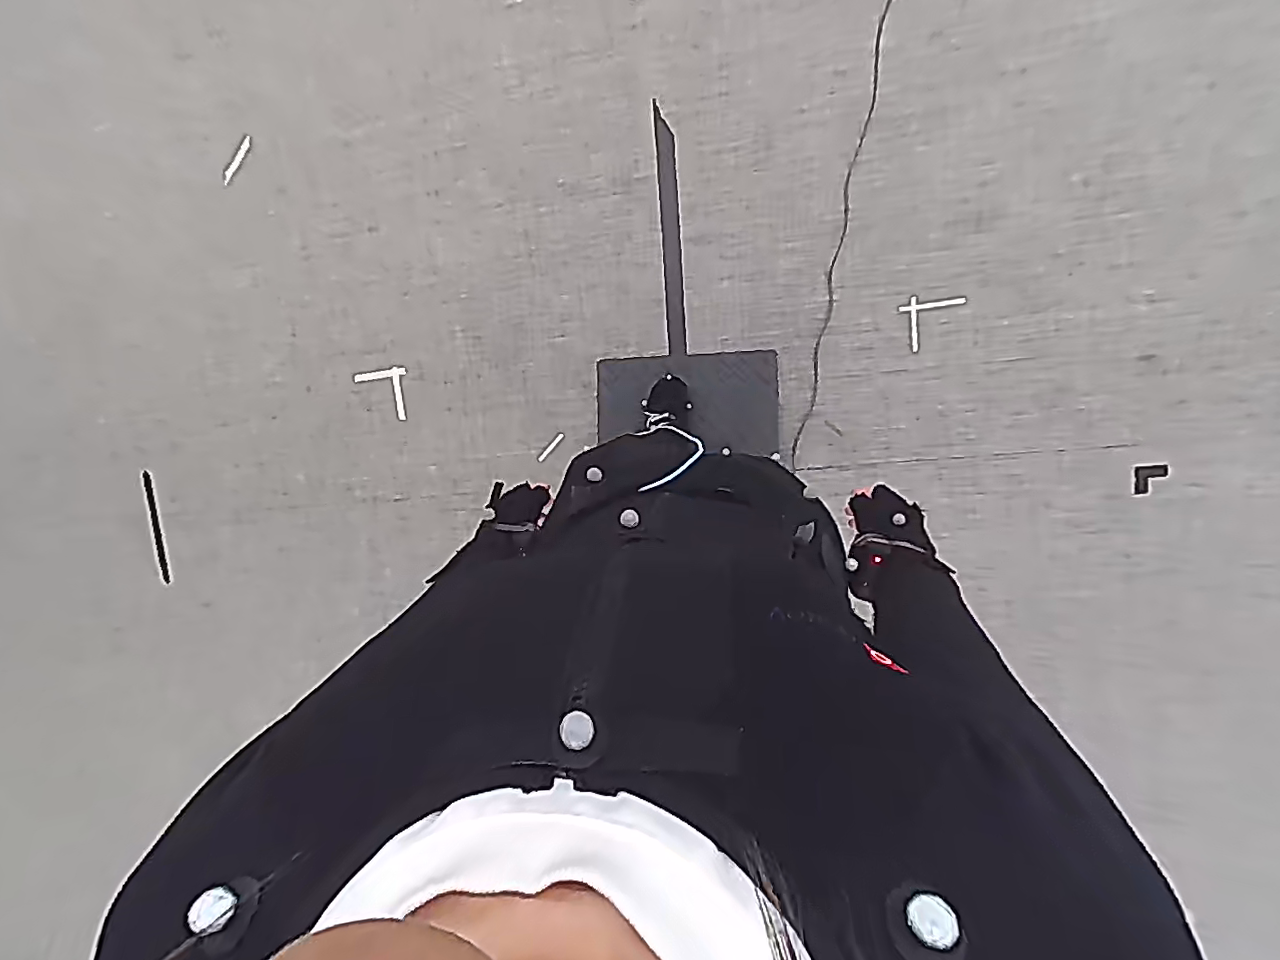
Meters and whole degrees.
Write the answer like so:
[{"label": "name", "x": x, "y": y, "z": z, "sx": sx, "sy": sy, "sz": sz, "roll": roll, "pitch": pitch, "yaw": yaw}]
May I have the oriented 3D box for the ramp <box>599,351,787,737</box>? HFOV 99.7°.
[{"label": "ramp", "x": 0.126, "y": 0.158, "z": 1.443, "sx": 0.509, "sy": 0.206, "sz": 0.991, "roll": -3, "pitch": 95, "yaw": 12}]
